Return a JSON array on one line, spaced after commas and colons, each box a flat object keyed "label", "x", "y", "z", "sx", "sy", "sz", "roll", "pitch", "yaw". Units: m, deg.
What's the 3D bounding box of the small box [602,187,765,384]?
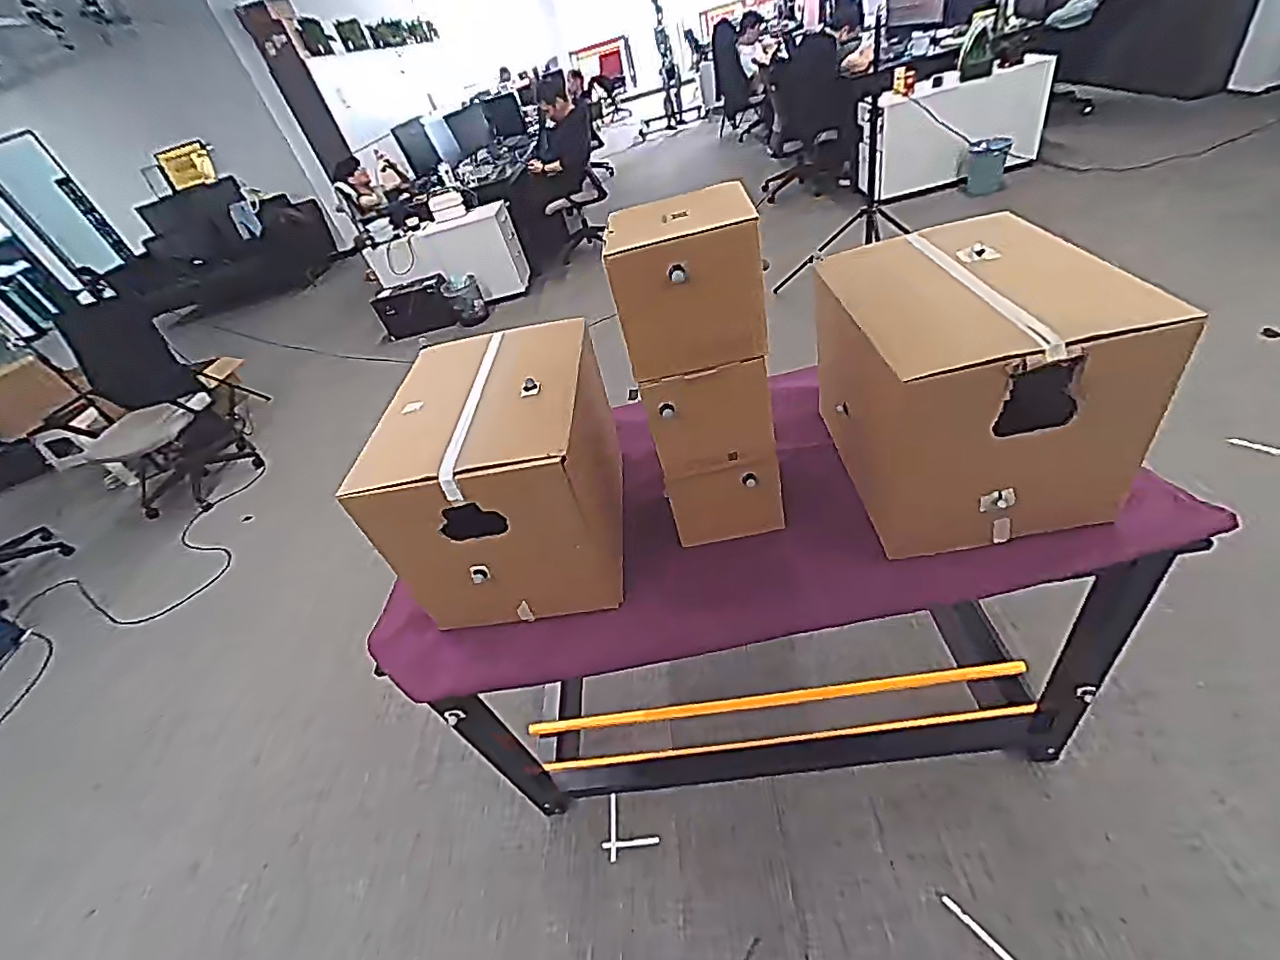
[{"label": "small box", "x": 0.061, "y": -0.247, "z": 0.696, "sx": 0.179, "sy": 0.176, "sz": 0.168, "roll": -11, "pitch": 40, "yaw": 9}]

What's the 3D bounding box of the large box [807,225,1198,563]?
[{"label": "large box", "x": 0.472, "y": -0.141, "z": 0.826, "sx": 0.320, "sy": 0.320, "sz": 0.408, "roll": -11, "pitch": 38, "yaw": 8}]
